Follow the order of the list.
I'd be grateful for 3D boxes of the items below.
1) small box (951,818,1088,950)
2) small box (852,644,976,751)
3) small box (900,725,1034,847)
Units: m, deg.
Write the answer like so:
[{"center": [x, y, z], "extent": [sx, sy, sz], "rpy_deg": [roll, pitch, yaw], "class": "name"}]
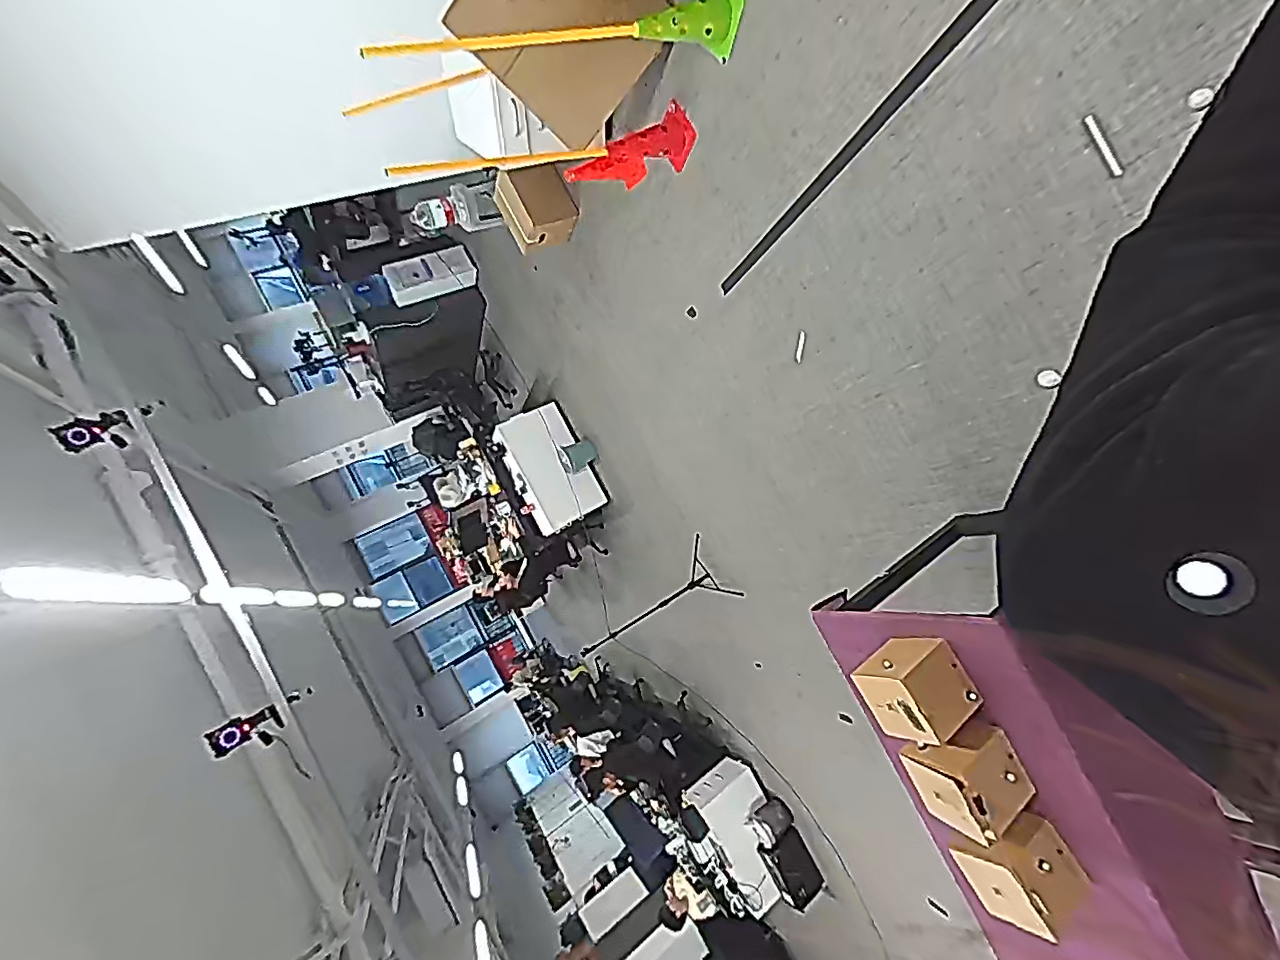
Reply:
[{"center": [0.880, 0.909, 1.247], "extent": [0.168, 0.176, 0.179], "rpy_deg": [59, 156, 10], "class": "small box"}, {"center": [0.651, 0.502, 1.276], "extent": [0.168, 0.176, 0.179], "rpy_deg": [60, 157, 6], "class": "small box"}, {"center": [0.760, 0.693, 1.259], "extent": [0.168, 0.176, 0.179], "rpy_deg": [62, 156, 0], "class": "small box"}]
